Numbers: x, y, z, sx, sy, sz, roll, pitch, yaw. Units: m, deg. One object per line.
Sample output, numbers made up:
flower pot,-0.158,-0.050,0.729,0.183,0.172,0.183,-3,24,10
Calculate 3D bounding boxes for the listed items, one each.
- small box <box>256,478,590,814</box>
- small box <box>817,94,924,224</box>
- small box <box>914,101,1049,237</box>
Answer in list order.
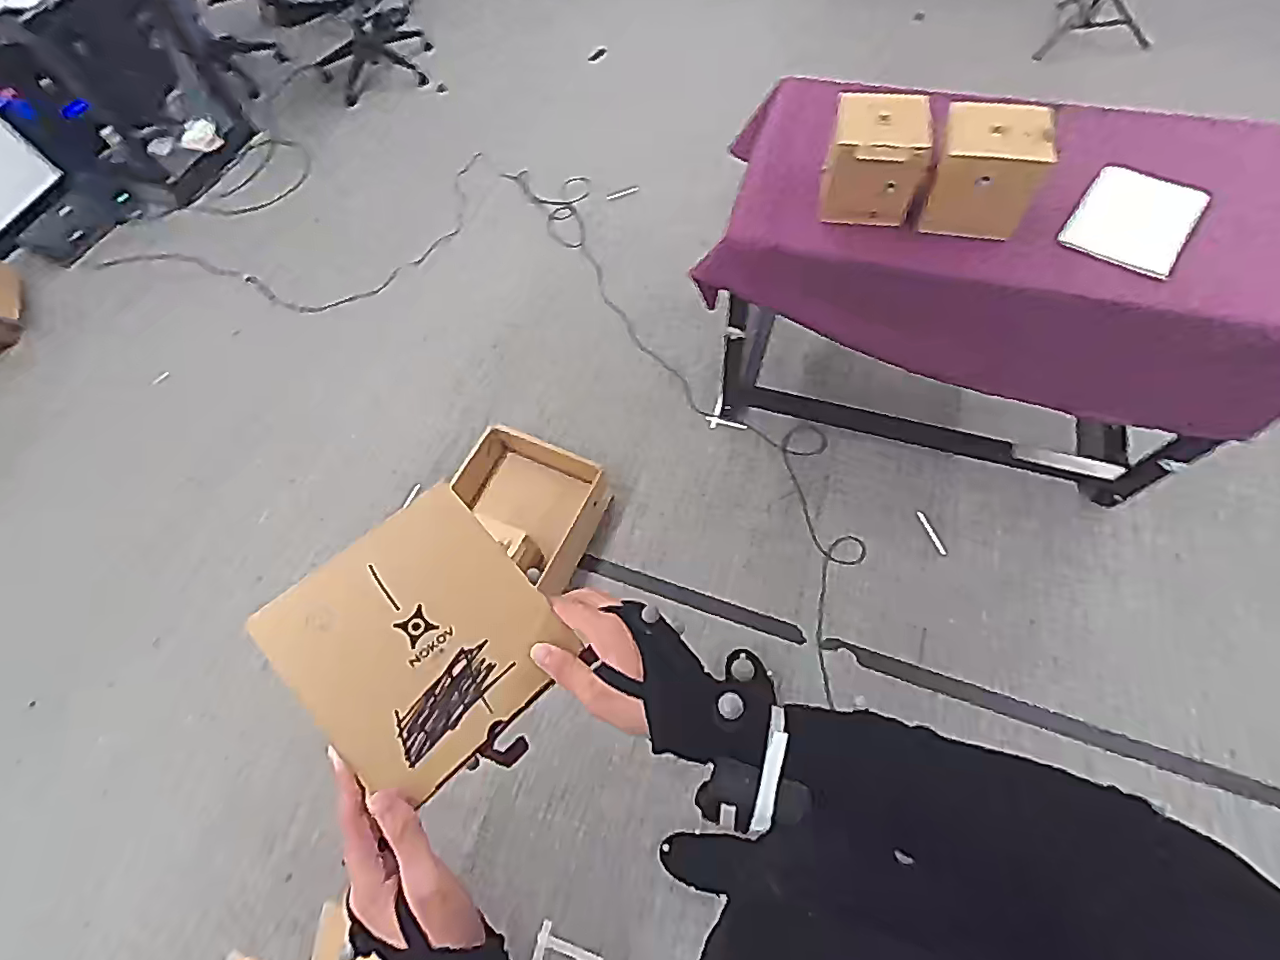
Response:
small box,-0.162,0.131,0.461,0.168,0.176,0.179,-39,82,-19
small box,0.467,-0.655,1.111,0.168,0.176,0.179,8,64,9
small box,0.661,-0.608,1.066,0.179,0.176,0.168,11,66,11
